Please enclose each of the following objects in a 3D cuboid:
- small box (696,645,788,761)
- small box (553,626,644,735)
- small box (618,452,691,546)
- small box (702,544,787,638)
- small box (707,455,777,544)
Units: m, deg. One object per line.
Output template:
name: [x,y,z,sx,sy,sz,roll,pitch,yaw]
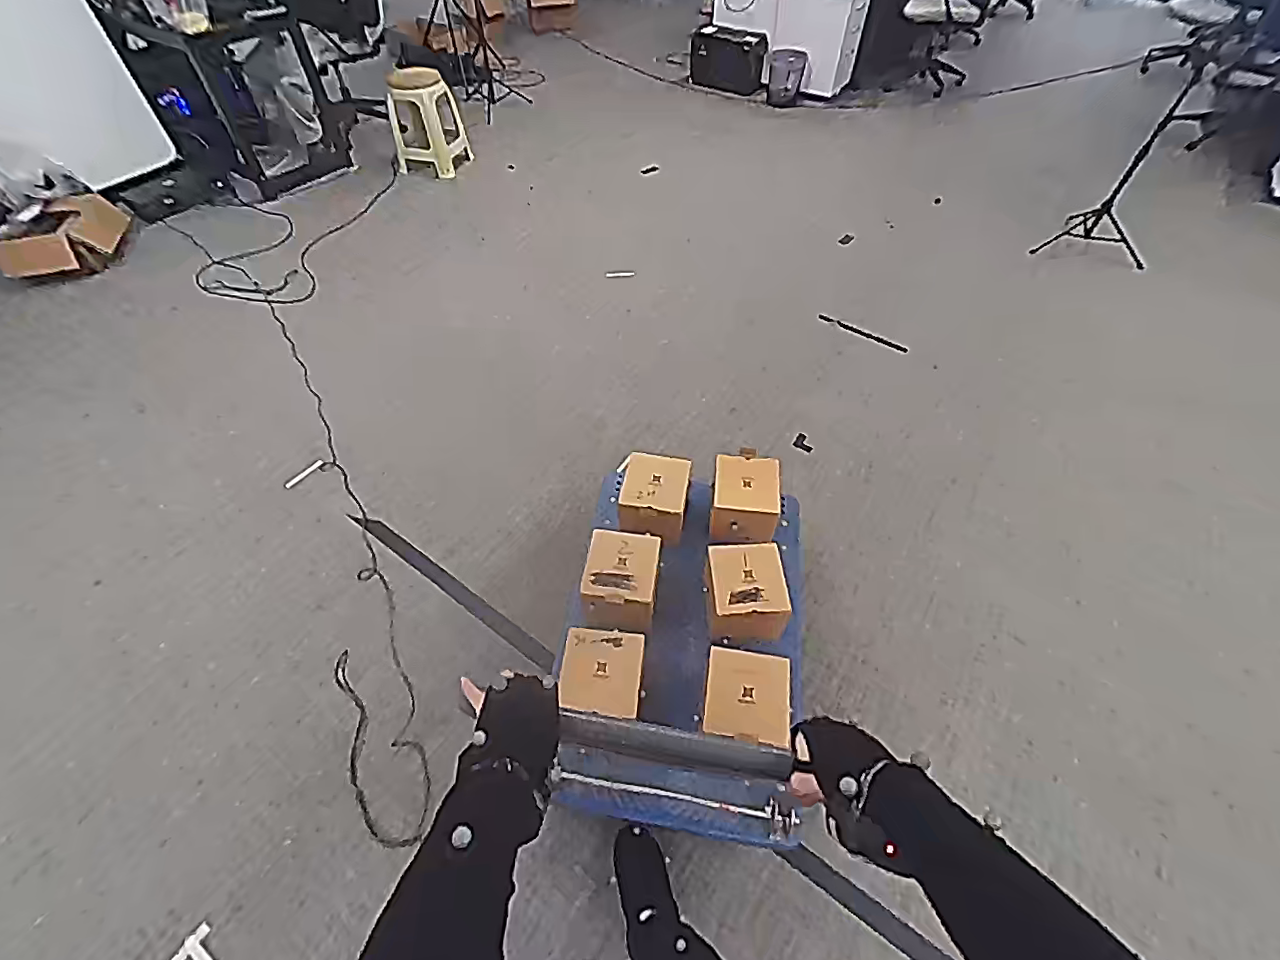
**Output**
small box: [0.213,0.476,1.144,0.168,0.176,0.179,8,52,6]
small box: [-0.082,0.438,1.171,0.168,0.176,0.179,6,53,3]
small box: [0.039,0.053,1.465,0.168,0.176,0.179,9,54,7]
small box: [0.243,0.272,1.299,0.168,0.176,0.179,-2,52,-1]
small box: [0.274,0.058,1.465,0.168,0.176,0.179,5,52,4]
